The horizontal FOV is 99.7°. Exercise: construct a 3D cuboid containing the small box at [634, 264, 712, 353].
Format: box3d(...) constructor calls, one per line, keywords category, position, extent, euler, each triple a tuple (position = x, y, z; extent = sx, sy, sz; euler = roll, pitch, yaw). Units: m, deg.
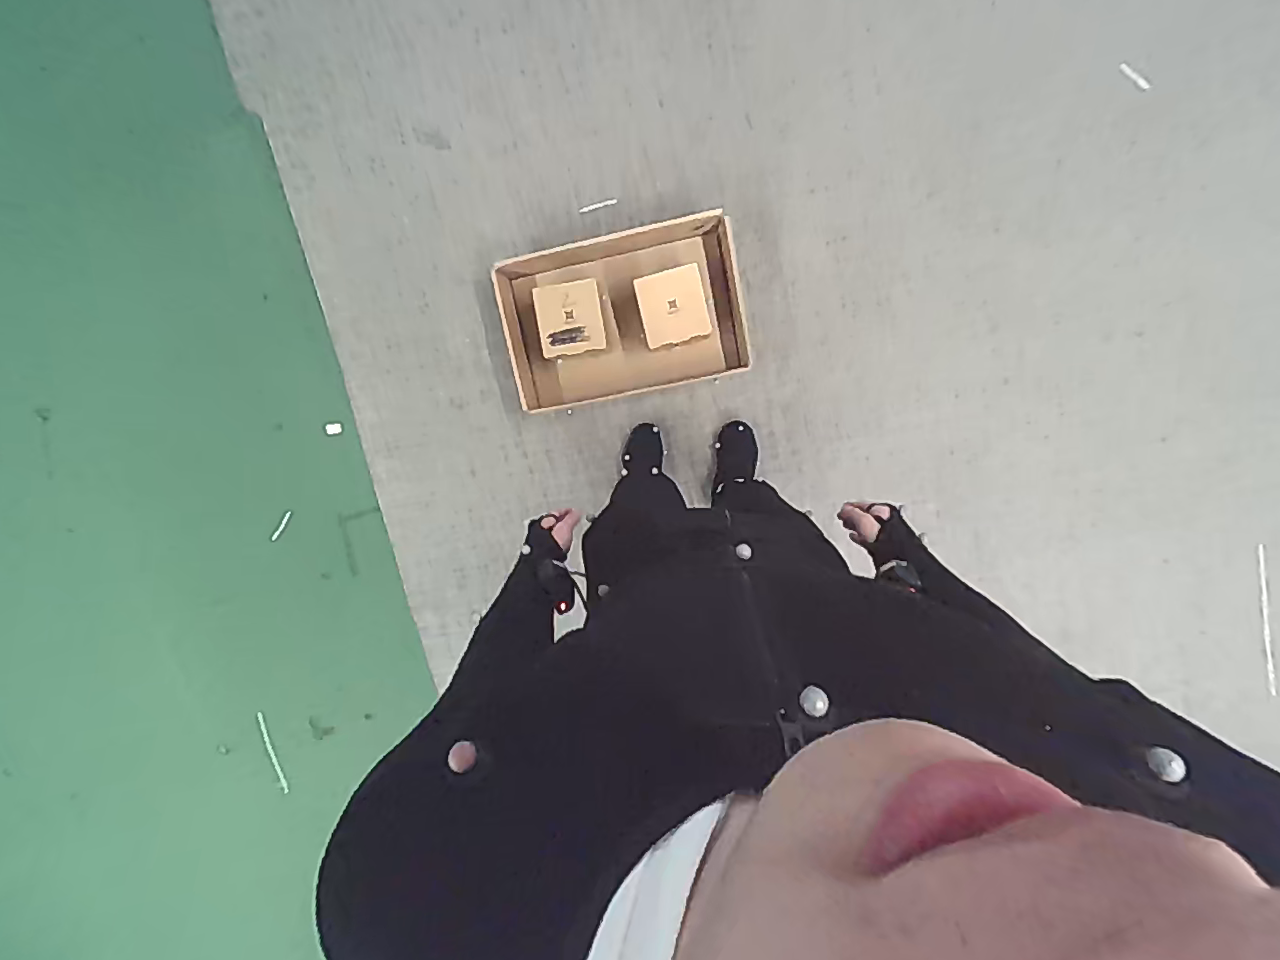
box3d(category="small box", position=(0.085, -0.443, 1.419), extent=(0.168, 0.176, 0.179), euler=(-13, 99, 6))
